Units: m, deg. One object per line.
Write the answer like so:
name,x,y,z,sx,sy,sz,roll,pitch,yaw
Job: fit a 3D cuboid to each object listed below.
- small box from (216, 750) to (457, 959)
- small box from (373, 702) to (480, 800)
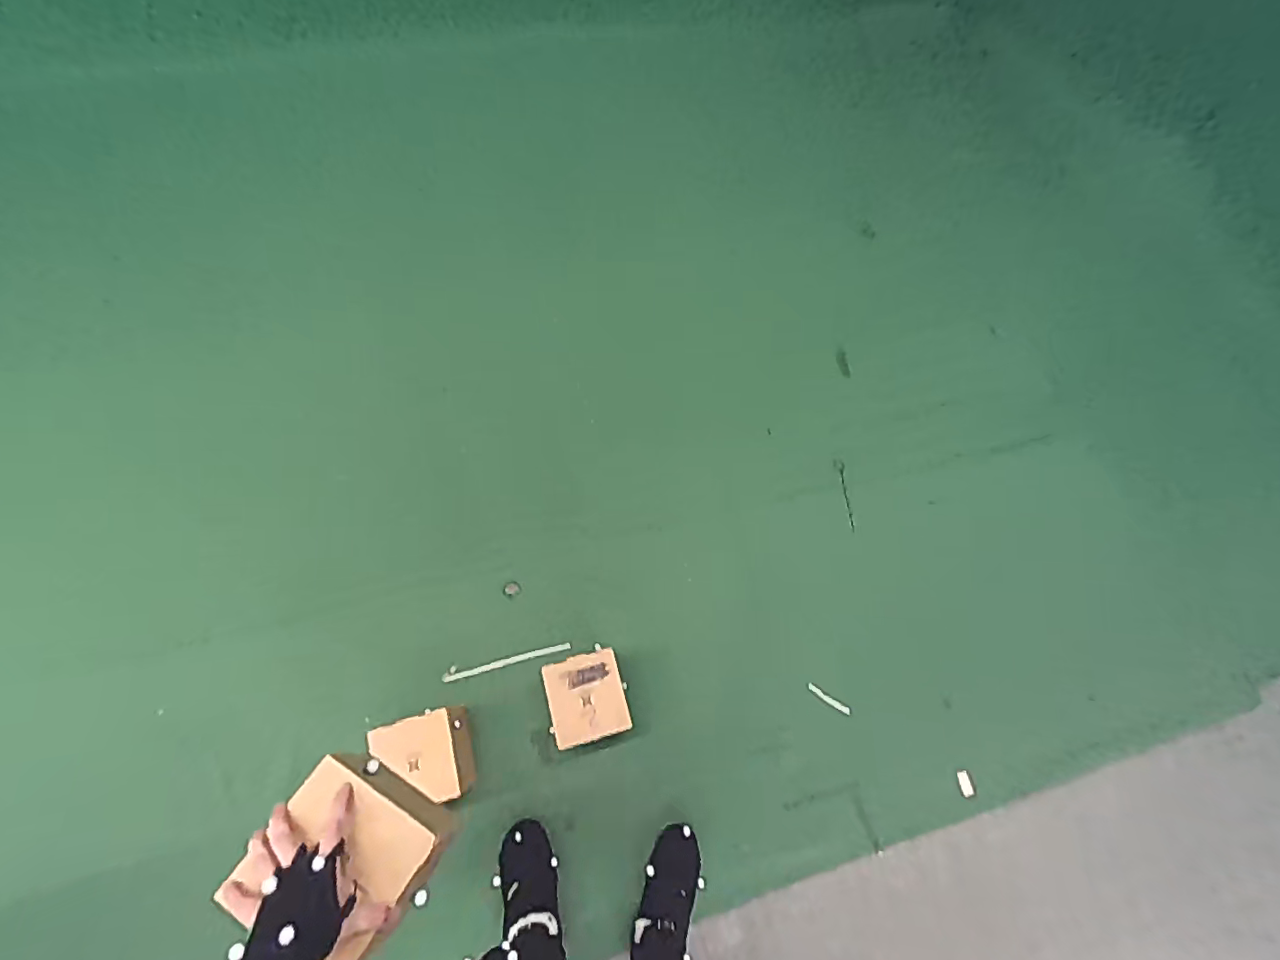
small box,-0.363,0.470,0.685,0.179,0.176,0.168,31,65,9
small box,-0.465,0.605,1.197,0.168,0.176,0.179,-15,70,-9
